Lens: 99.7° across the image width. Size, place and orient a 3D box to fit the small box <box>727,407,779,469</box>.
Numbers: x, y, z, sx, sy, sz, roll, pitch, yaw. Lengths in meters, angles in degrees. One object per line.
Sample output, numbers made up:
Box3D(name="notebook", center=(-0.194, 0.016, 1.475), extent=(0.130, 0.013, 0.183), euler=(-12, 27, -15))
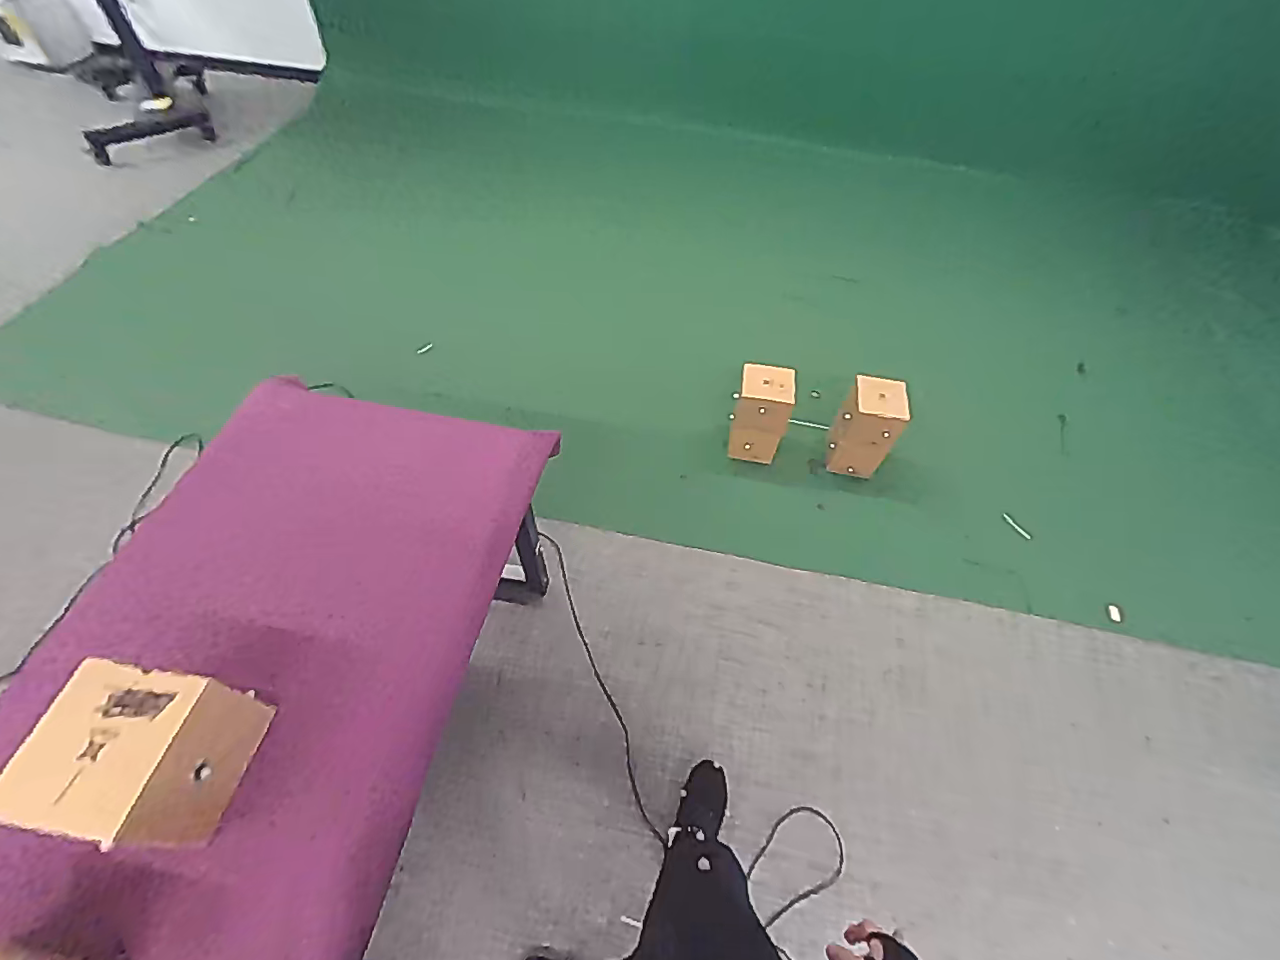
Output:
Box3D(name="small box", center=(0.423, -0.164, 2.014), extent=(0.168, 0.176, 0.179), euler=(9, 53, 4))

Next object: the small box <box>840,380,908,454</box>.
Box3D(name="small box", center=(0.800, -0.213, 1.863), extent=(0.168, 0.176, 0.179), euler=(10, 55, 4))

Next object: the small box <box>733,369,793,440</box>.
Box3D(name="small box", center=(0.426, -0.258, 1.878), extent=(0.179, 0.176, 0.168), euler=(9, 54, 4))

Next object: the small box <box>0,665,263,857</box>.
Box3D(name="small box", center=(-0.628, 0.359, 0.686), extent=(0.168, 0.176, 0.179), euler=(9, 55, 4))
